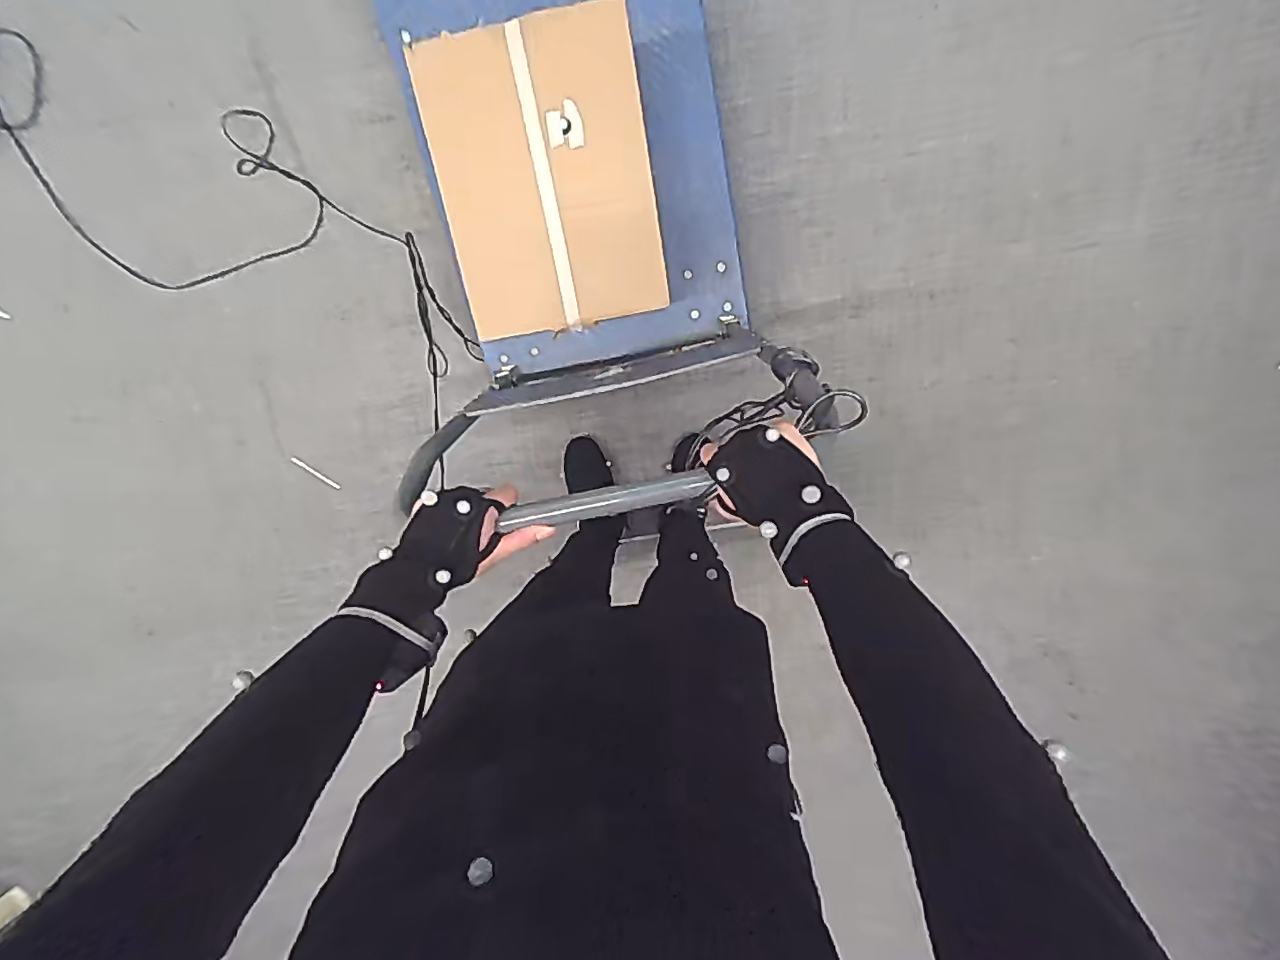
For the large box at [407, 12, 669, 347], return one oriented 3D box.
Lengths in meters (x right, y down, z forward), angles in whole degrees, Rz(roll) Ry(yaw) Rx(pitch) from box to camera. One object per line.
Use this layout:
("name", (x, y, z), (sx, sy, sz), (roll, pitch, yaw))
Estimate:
("large box", (-0.136, -0.469, 0.942), (0.320, 0.320, 0.408), (-9, 108, 4))
